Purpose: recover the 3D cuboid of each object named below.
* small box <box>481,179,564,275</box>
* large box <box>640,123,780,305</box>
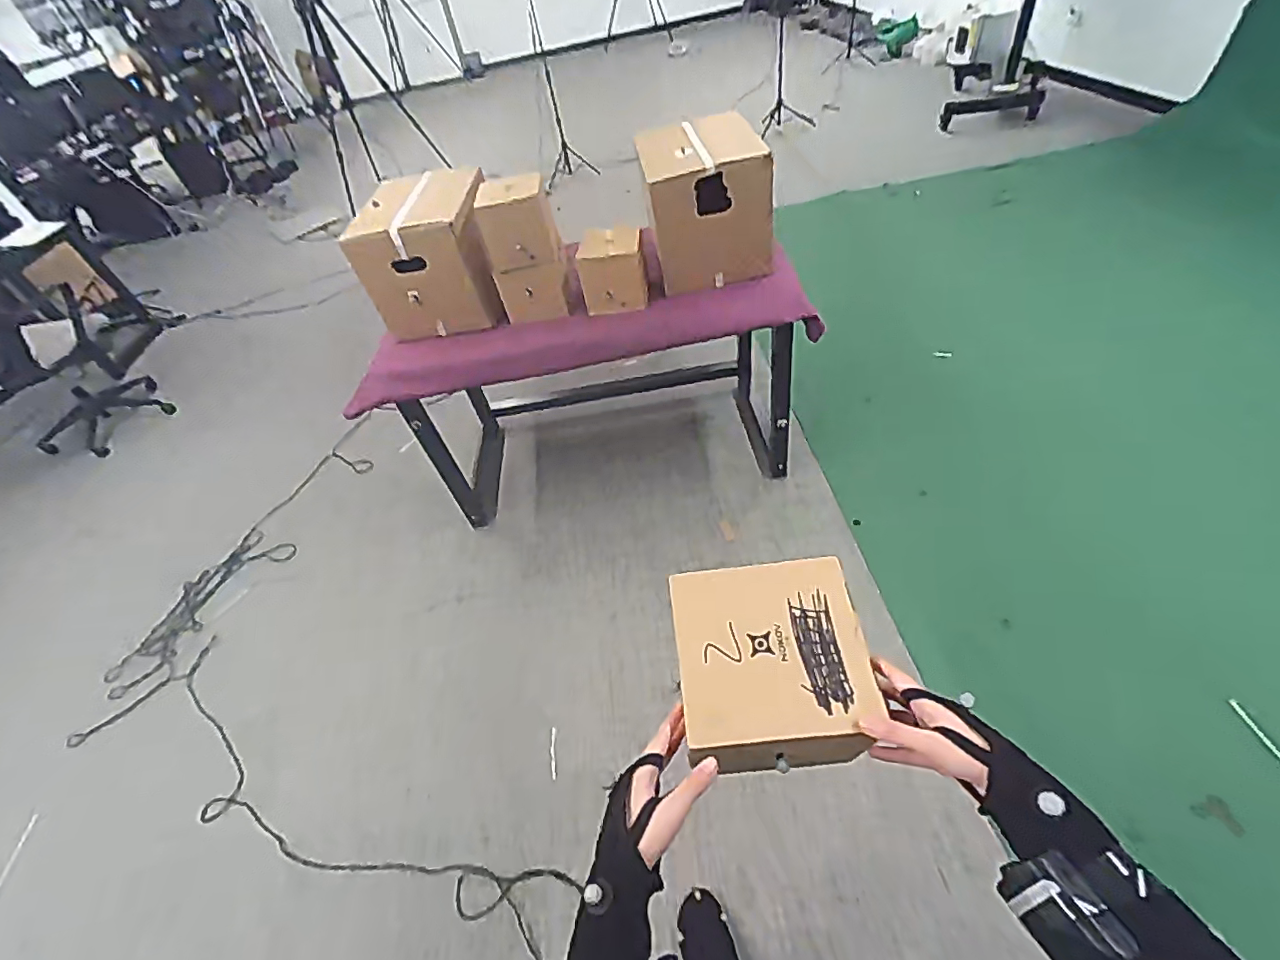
[{"bbox_3d":[-0.305,-0.670,1.439,0.168,0.176,0.179,-10,46,4],"label":"small box"},{"bbox_3d":[0.196,-0.767,1.554,0.320,0.320,0.408,-12,47,5],"label":"large box"}]
